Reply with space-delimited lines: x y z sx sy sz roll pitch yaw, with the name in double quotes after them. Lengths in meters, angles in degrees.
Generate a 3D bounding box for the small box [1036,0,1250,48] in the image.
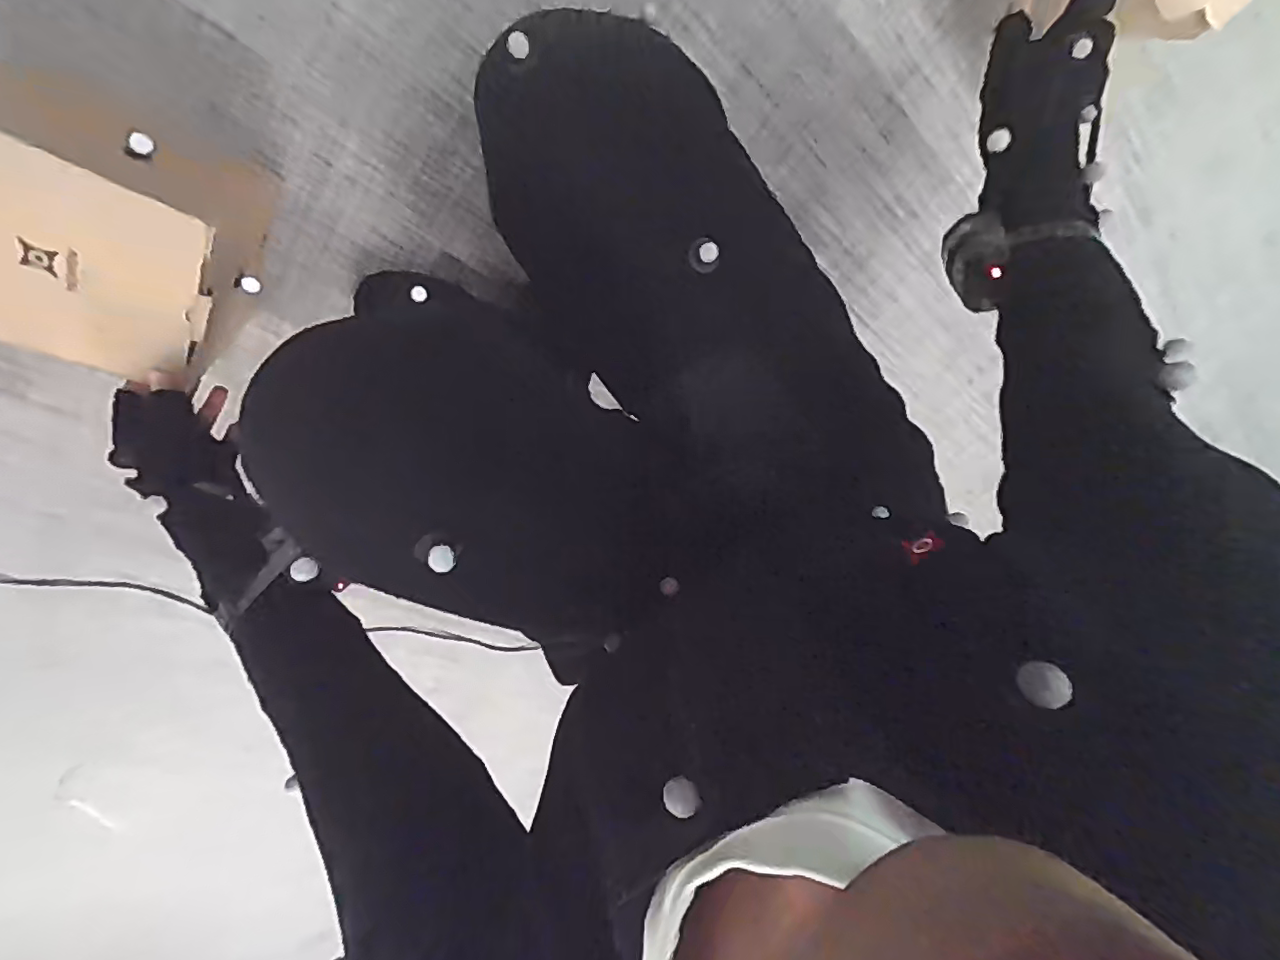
0.436 -0.494 0.430 0.168 0.176 0.179 28 118 -31 "small box"
